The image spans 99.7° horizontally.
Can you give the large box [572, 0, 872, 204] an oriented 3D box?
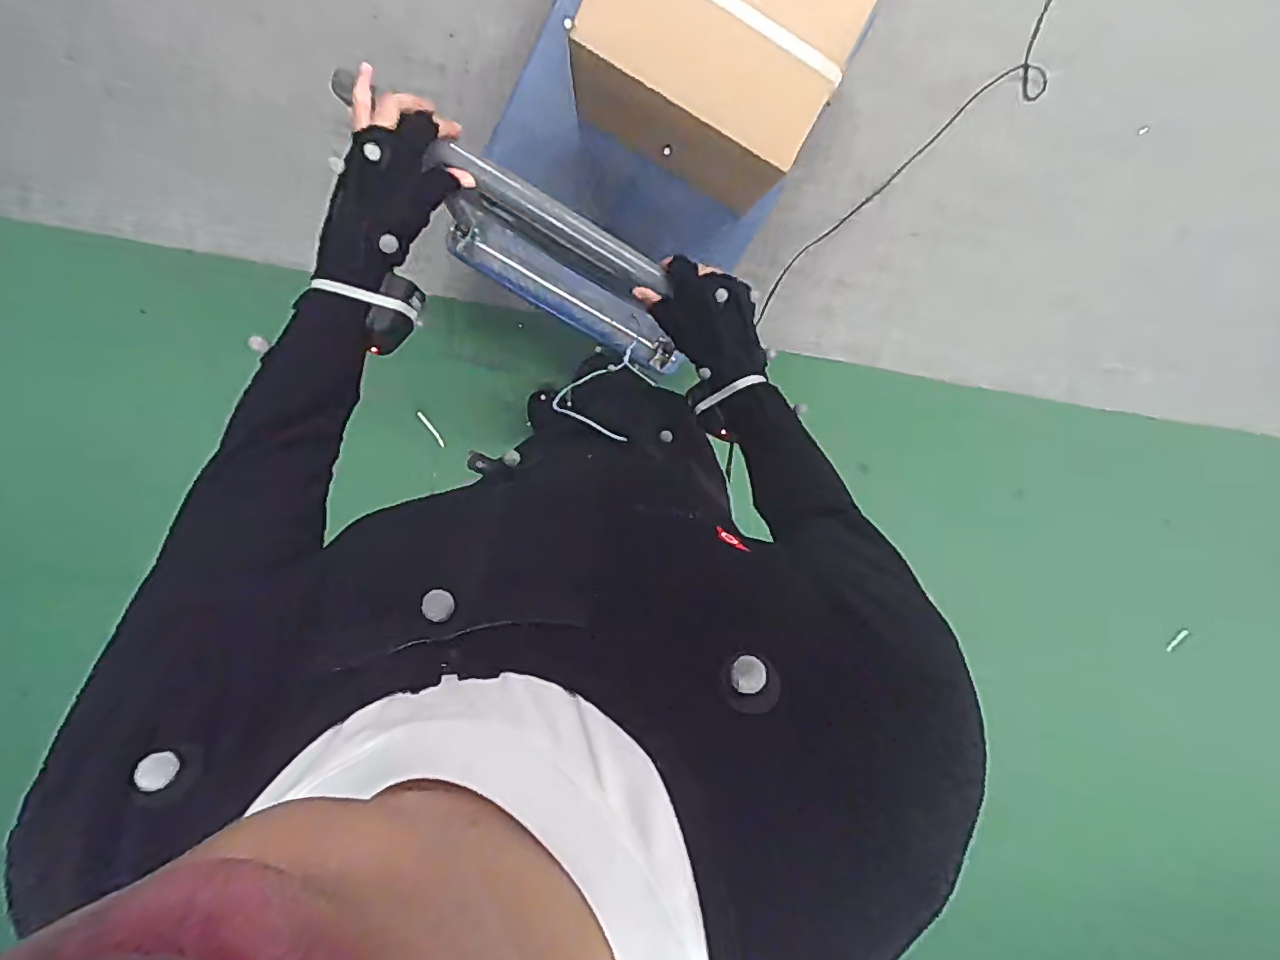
[{"bbox_3d":[0.131,-0.774,0.979,0.408,0.320,0.320,26,100,-9],"label":"large box"}]
